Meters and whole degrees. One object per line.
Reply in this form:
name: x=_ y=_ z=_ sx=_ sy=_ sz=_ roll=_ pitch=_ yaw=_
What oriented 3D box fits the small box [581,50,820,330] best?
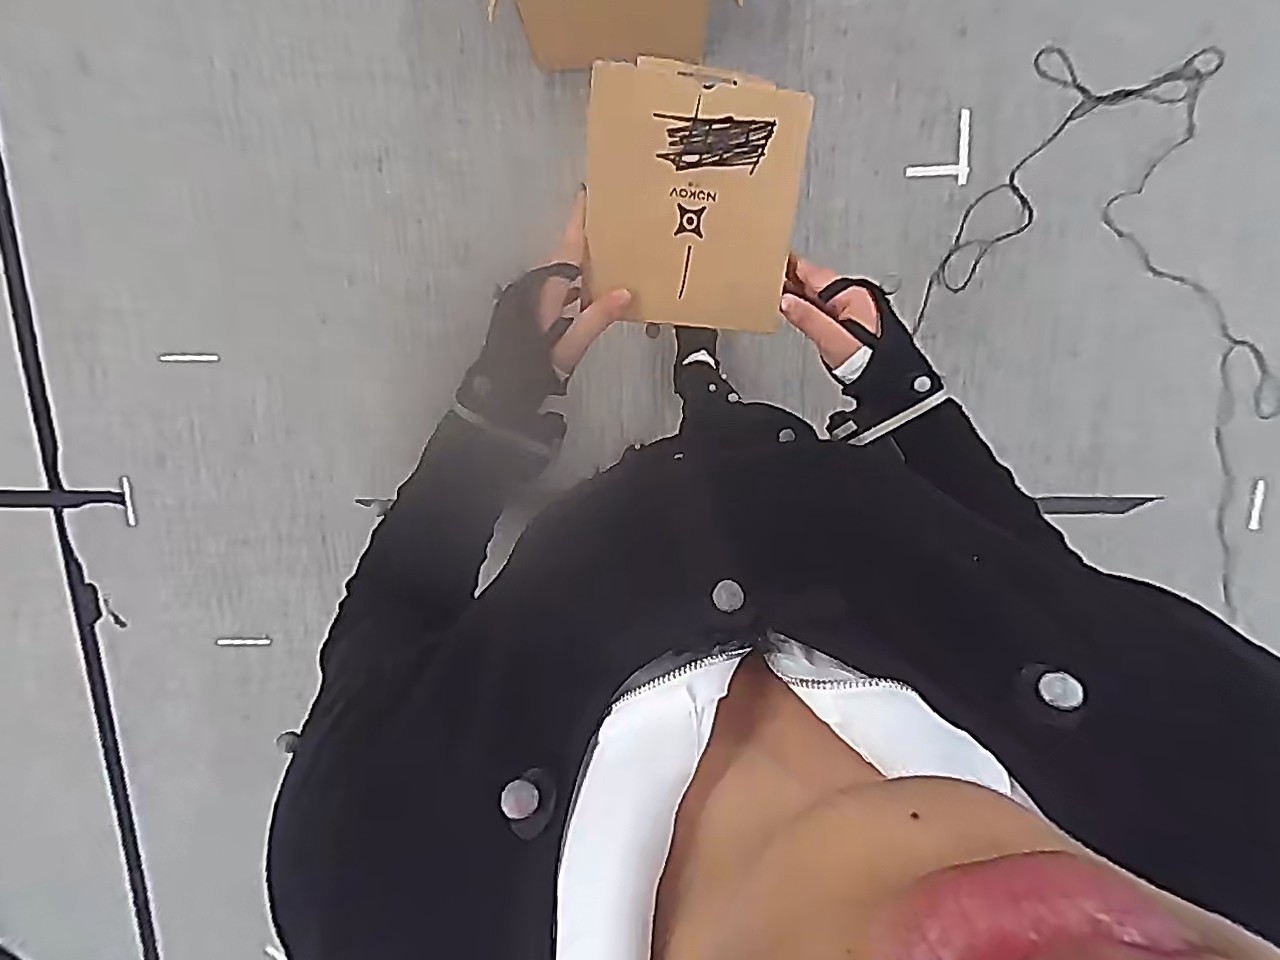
small box: x=0.035 y=-0.236 z=0.486 sx=0.168 sy=0.176 sz=0.179 roll=3 pitch=108 yaw=-8
